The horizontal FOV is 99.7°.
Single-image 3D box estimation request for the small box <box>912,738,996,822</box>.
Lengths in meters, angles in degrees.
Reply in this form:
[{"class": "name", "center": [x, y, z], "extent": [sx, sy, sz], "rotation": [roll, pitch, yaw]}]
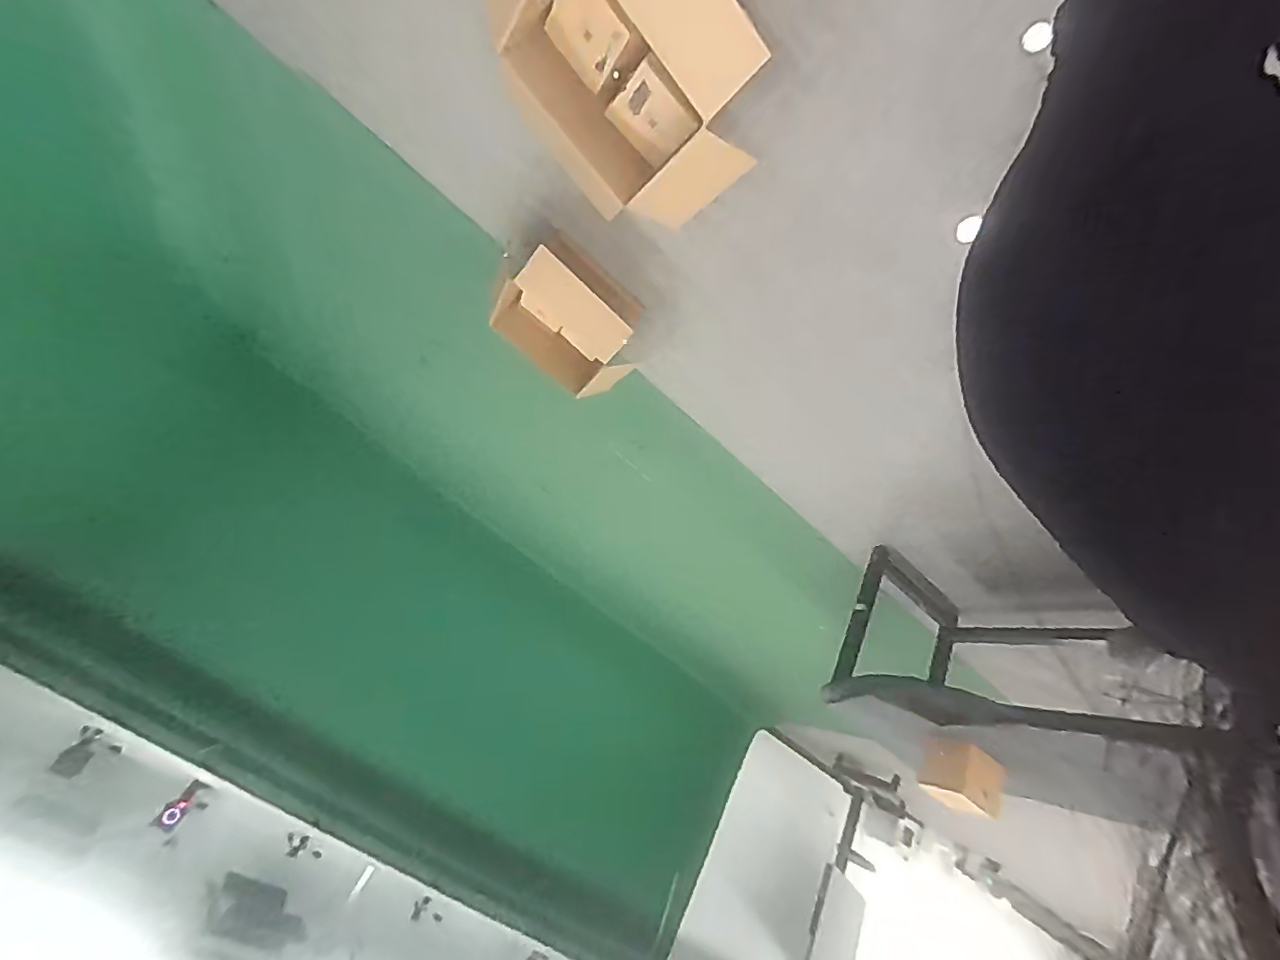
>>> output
[{"class": "small box", "center": [1.039, 0.982, 1.782], "extent": [0.179, 0.176, 0.168], "rotation": [39, 150, -13]}]
